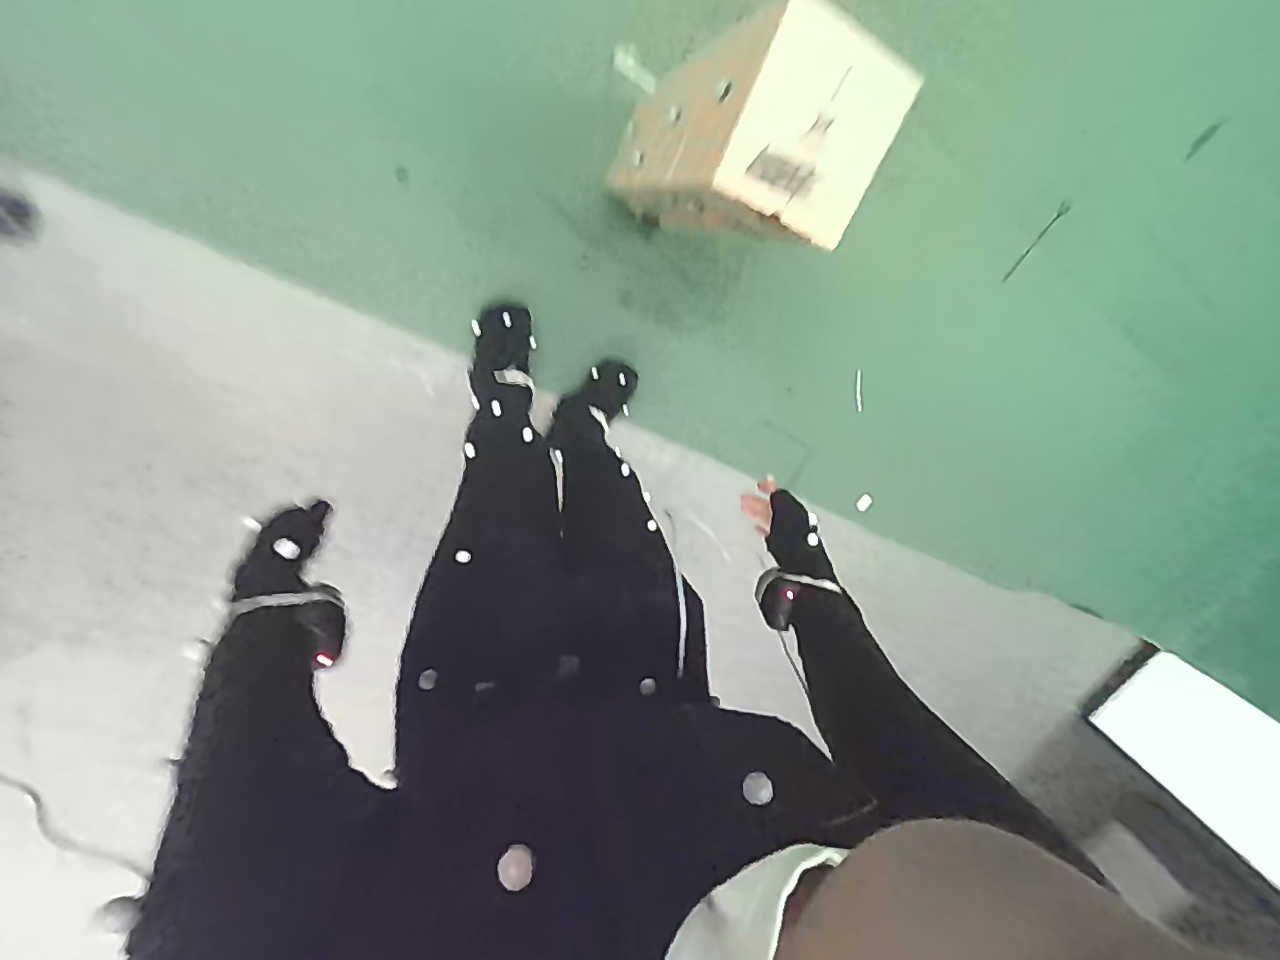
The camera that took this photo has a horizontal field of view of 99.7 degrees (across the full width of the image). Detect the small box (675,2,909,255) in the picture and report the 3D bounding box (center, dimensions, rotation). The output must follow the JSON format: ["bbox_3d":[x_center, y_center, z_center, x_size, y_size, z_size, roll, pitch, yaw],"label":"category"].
[{"bbox_3d":[0.155,-0.384,0.622,0.168,0.176,0.179,13,114,-21],"label":"small box"}]

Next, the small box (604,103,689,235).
[{"bbox_3d":[0.043,-0.601,1.048,0.168,0.176,0.179,20,110,-23],"label":"small box"}]

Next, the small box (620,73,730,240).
[{"bbox_3d":[0.080,-0.530,0.907,0.168,0.176,0.179,17,112,-23],"label":"small box"}]
